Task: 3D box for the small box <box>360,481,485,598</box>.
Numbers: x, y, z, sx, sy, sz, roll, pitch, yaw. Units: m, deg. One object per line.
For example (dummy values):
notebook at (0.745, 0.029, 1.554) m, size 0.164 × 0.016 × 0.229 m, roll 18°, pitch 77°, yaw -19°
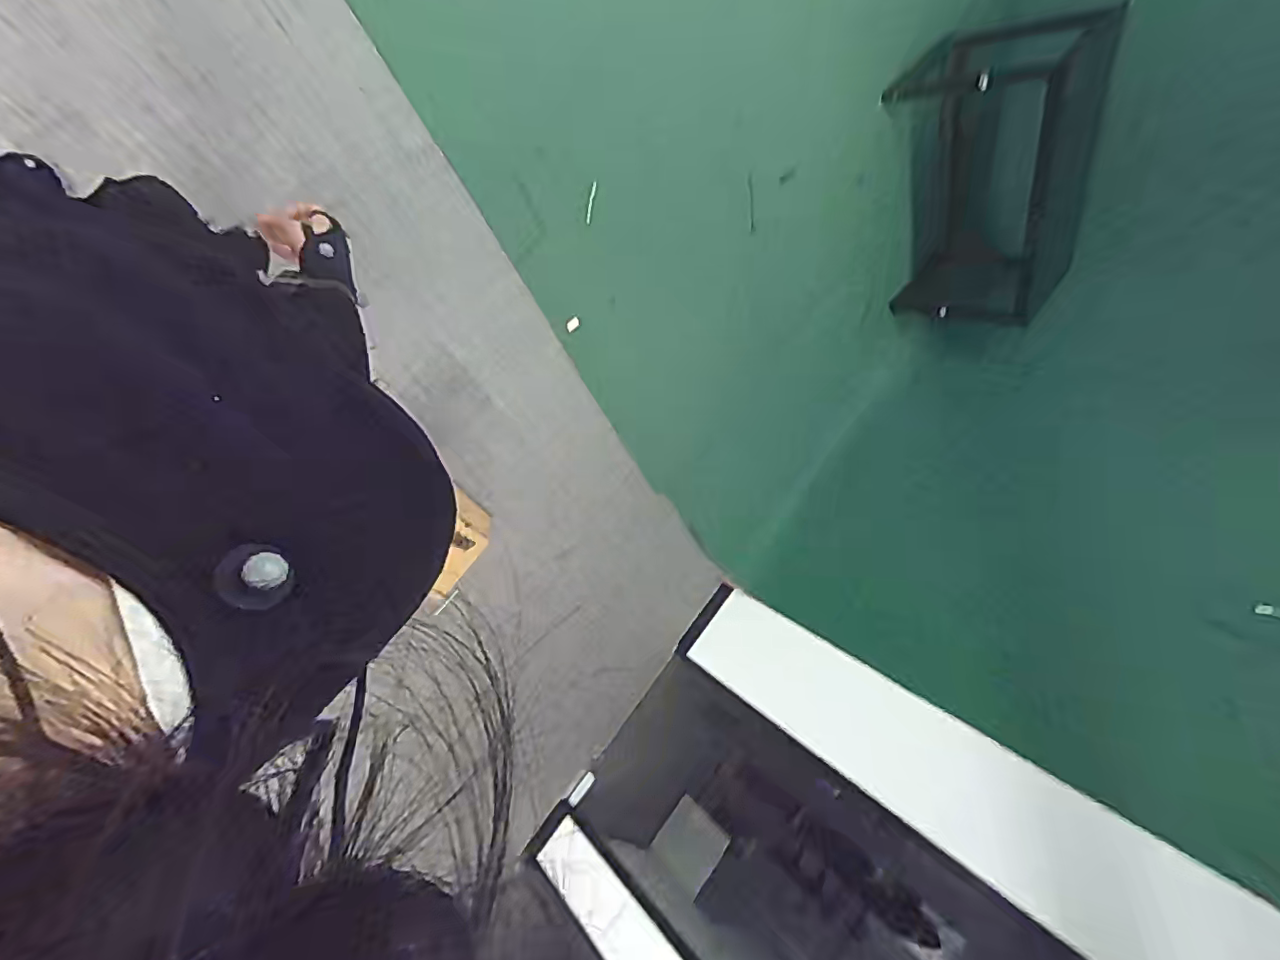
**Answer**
small box at (-0.498, 0.130, 1.233) m, size 0.179 × 0.176 × 0.168 m, roll -50°, pitch 138°, yaw -13°
